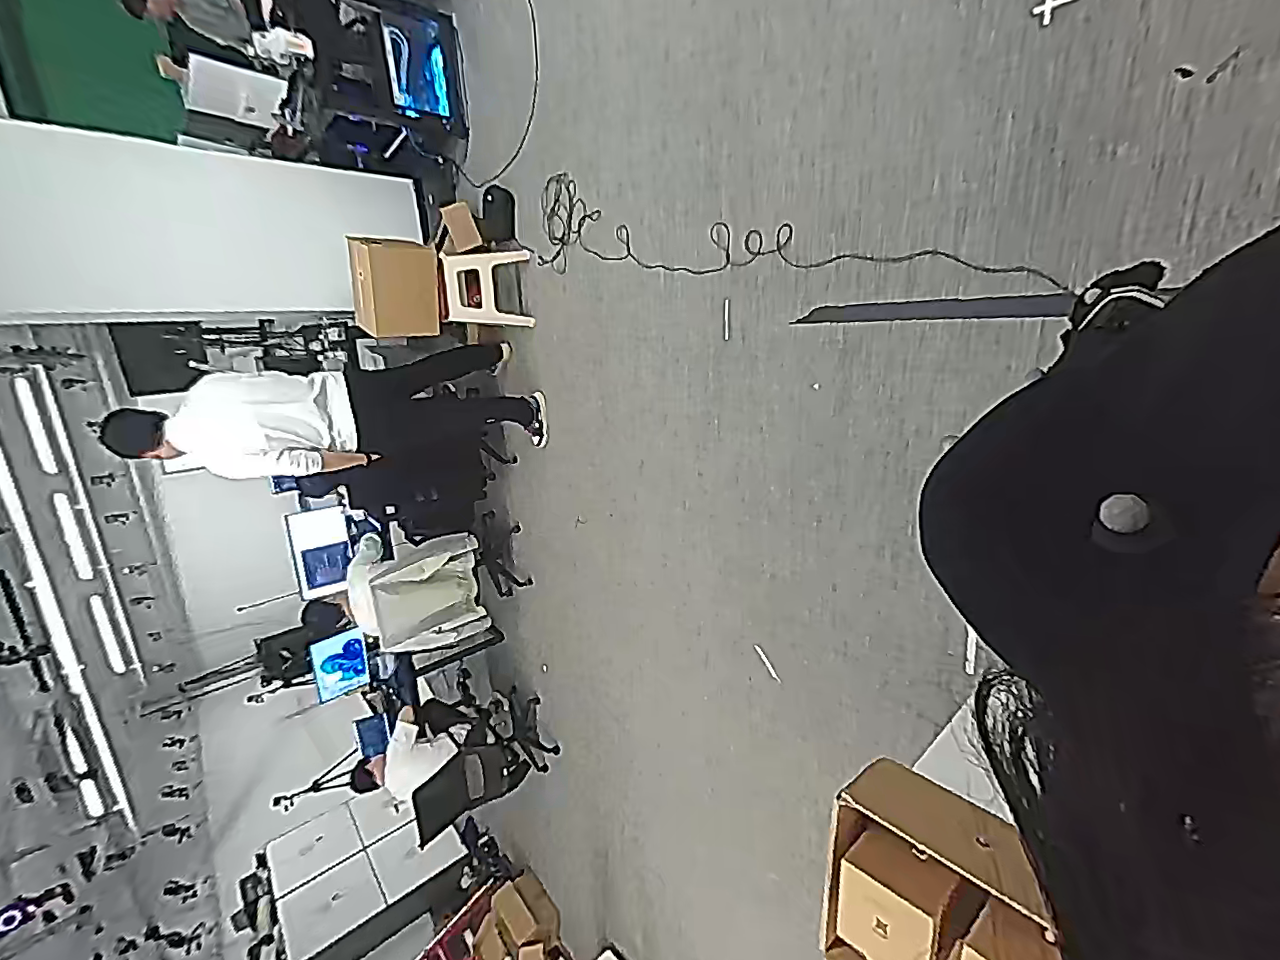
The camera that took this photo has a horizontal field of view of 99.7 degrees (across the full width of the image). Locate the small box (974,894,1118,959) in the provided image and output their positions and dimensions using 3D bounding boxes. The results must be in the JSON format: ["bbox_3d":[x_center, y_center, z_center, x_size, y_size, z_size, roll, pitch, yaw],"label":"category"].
[{"bbox_3d":[0.640,0.827,0.858,0.168,0.176,0.179,15,108,48],"label":"small box"}]
